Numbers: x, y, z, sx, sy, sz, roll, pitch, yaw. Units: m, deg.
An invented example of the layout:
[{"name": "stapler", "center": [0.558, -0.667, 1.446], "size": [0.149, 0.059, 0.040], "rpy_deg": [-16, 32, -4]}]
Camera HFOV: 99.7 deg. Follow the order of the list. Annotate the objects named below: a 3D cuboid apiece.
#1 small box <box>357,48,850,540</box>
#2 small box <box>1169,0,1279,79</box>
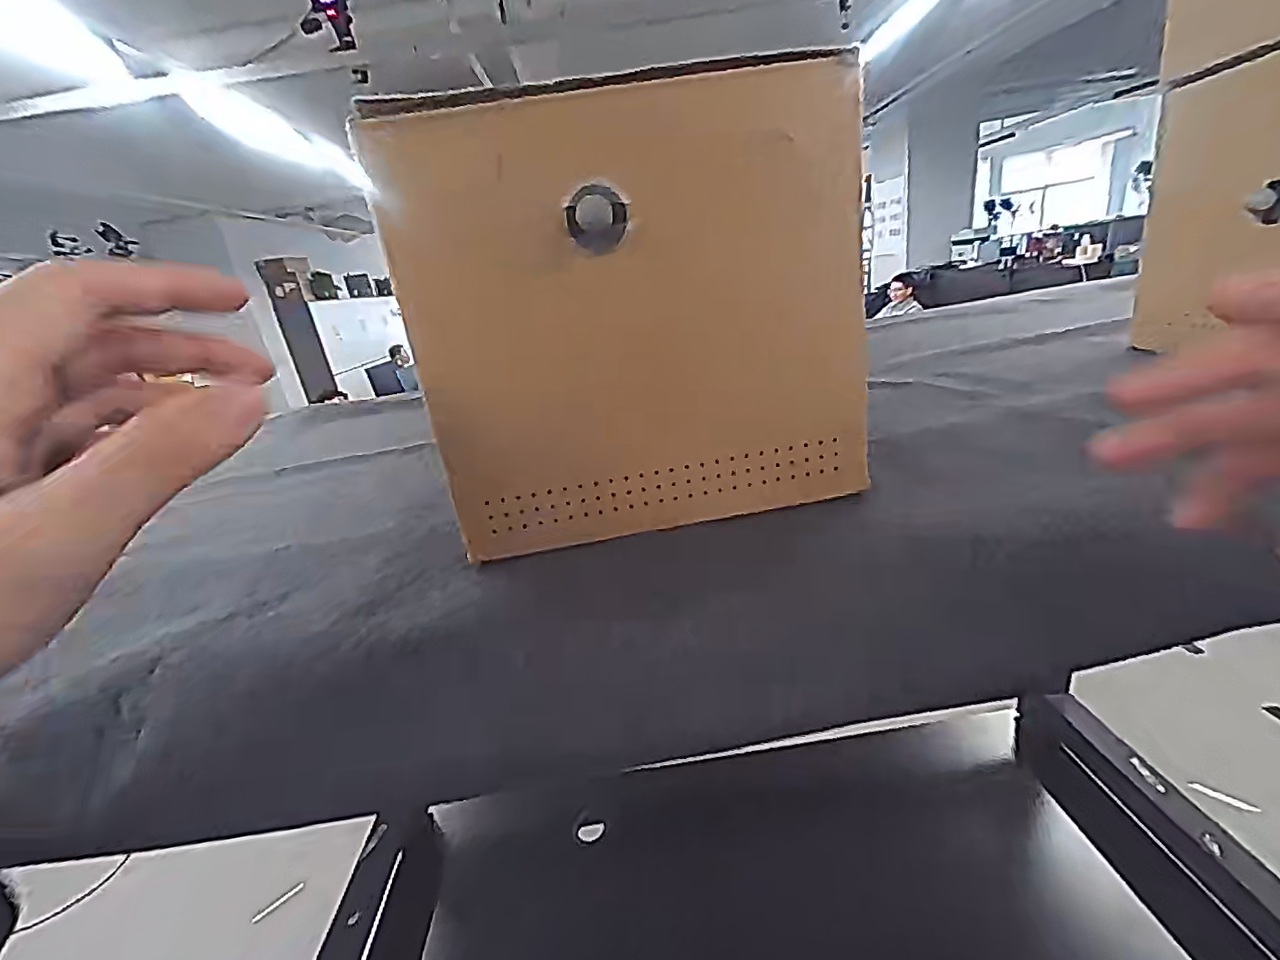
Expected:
[{"name": "small box", "center": [-0.007, -0.081, 0.284], "size": [0.179, 0.176, 0.168], "rpy_deg": [-10, 19, -3]}, {"name": "small box", "center": [0.392, -0.308, 0.233], "size": [0.168, 0.176, 0.179], "rpy_deg": [-9, 20, 4]}]
